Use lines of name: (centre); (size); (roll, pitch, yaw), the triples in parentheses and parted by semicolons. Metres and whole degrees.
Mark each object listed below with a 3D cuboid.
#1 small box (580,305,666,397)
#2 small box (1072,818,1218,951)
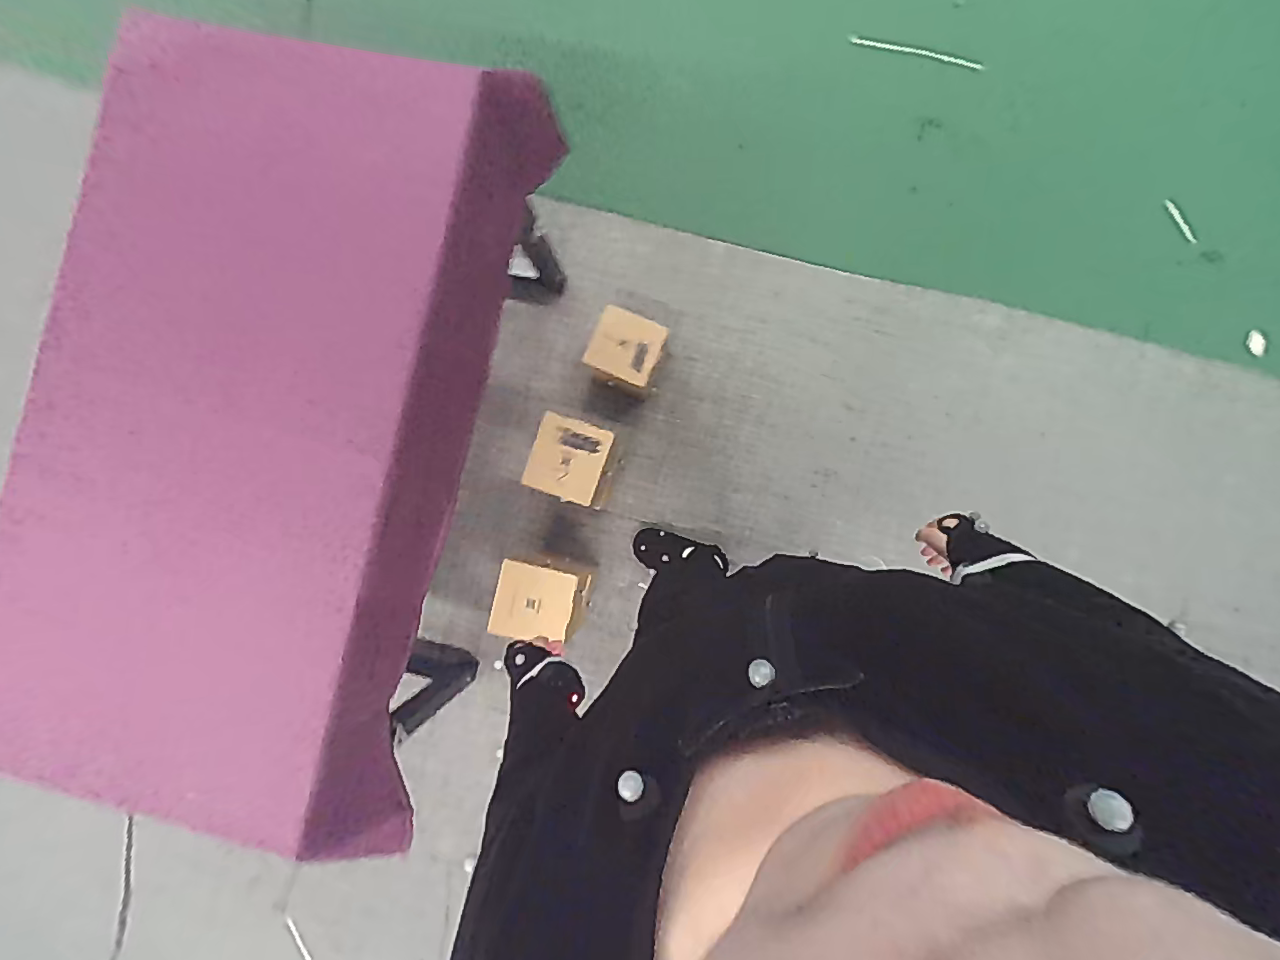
small box: (-0.038, -0.336, 1.447); (0.179, 0.176, 0.168); (24, 88, 5)
small box: (1.187, 0.947, 1.287); (0.179, 0.176, 0.168); (18, 89, 5)
